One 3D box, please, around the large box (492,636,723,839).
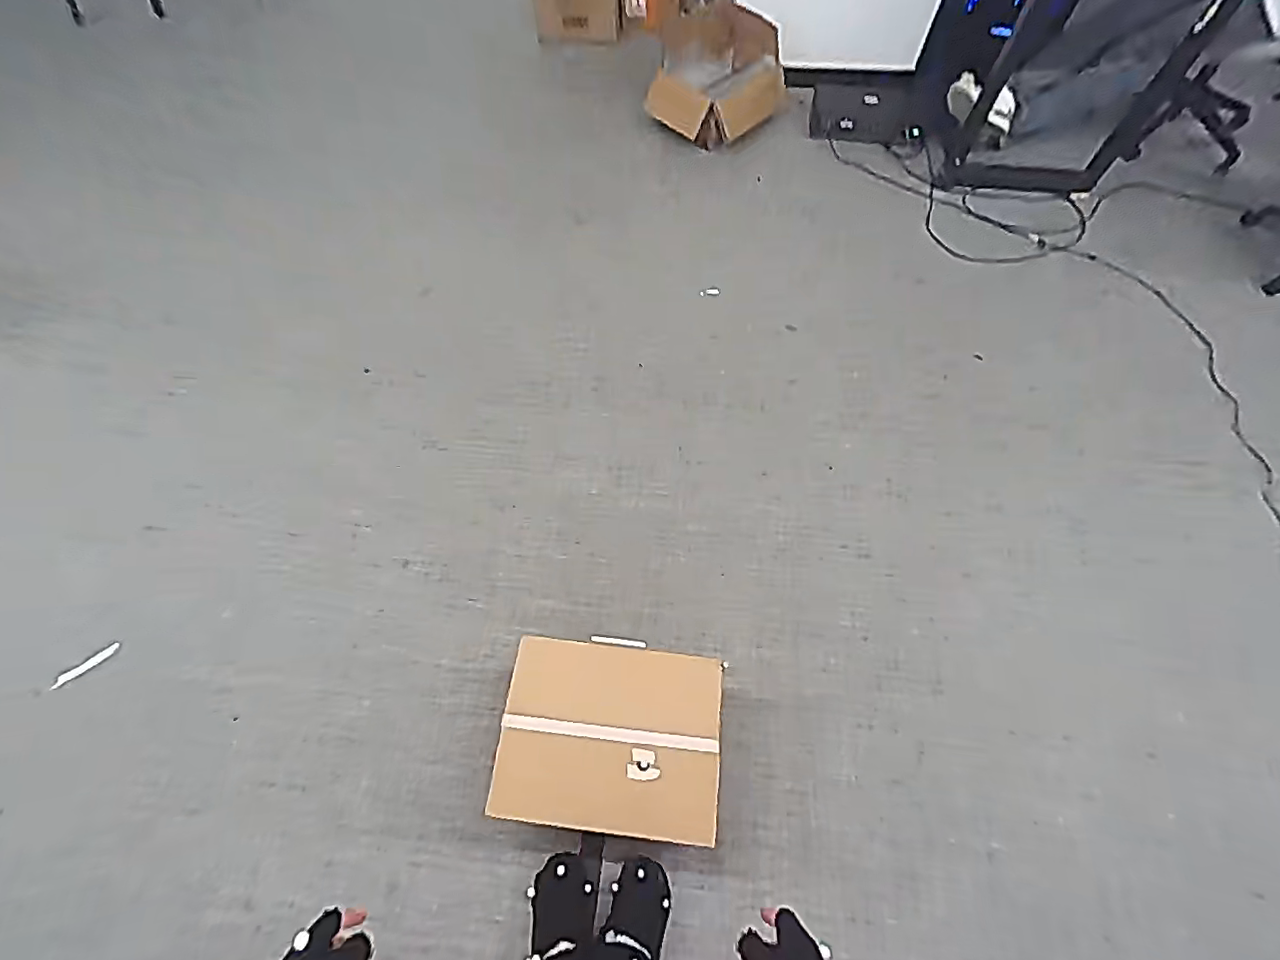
[{"bbox_3d":[-0.053,0.534,1.137,0.408,0.320,0.320,6,64,2],"label":"large box"}]
